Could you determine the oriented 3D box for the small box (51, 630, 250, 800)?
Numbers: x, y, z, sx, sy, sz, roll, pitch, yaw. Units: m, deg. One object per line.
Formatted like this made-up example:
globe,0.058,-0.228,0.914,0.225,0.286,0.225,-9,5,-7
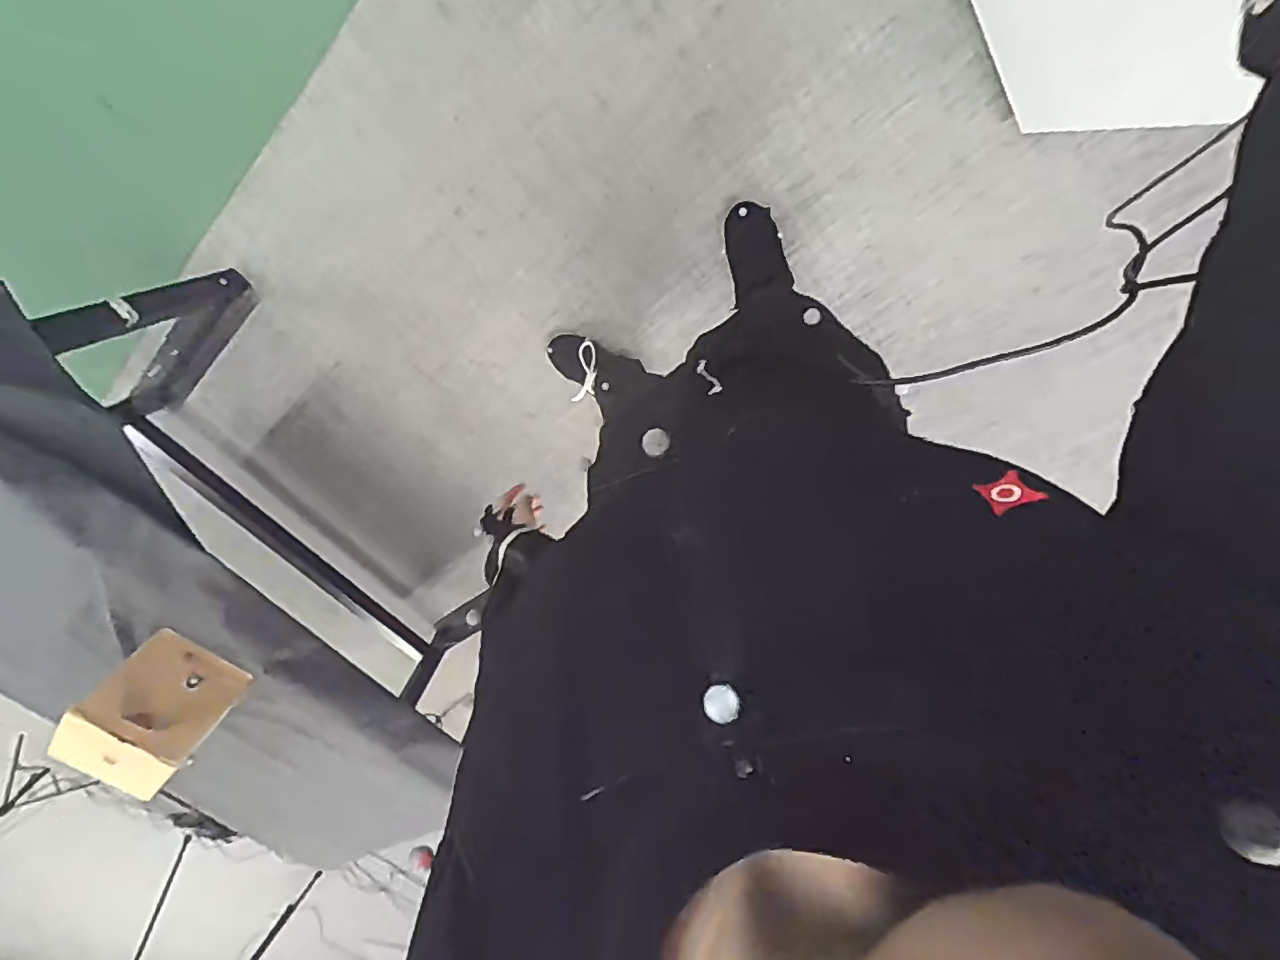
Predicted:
small box,-0.801,0.387,0.900,0.168,0.176,0.179,40,119,-16
